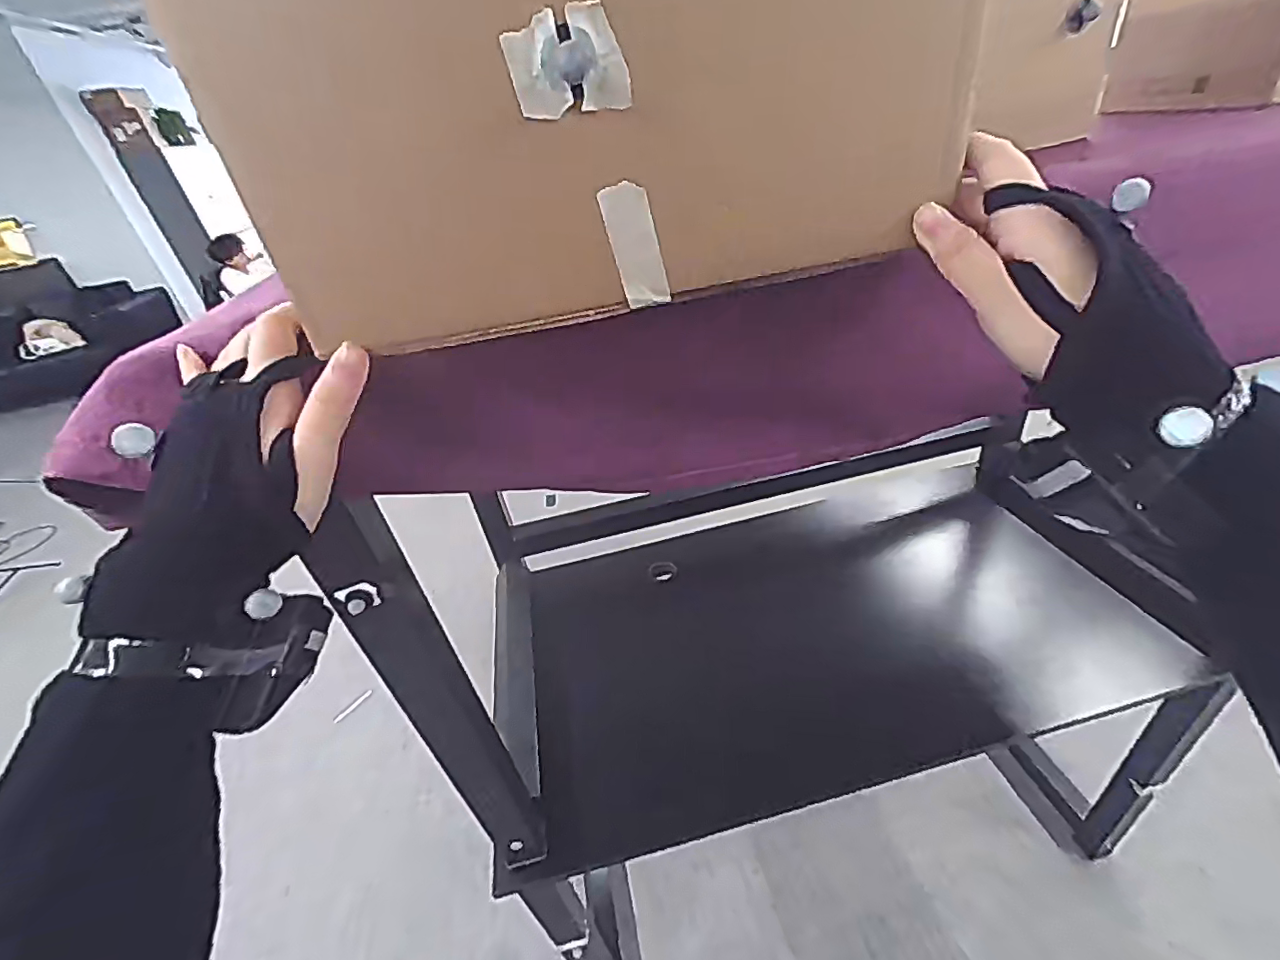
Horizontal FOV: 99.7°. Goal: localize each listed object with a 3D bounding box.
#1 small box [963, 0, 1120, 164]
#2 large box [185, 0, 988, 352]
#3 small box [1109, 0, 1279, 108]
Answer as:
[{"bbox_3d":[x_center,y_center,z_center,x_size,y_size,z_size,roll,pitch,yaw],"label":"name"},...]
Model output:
[{"bbox_3d":[0.273,-0.379,0.474,0.179,0.176,0.168,-18,34,-10],"label":"small box"},{"bbox_3d":[-0.048,-0.311,0.338,0.320,0.320,0.408,-12,33,-4],"label":"large box"},{"bbox_3d":[0.588,-0.449,0.488,0.179,0.176,0.168,-13,33,-5],"label":"small box"}]
